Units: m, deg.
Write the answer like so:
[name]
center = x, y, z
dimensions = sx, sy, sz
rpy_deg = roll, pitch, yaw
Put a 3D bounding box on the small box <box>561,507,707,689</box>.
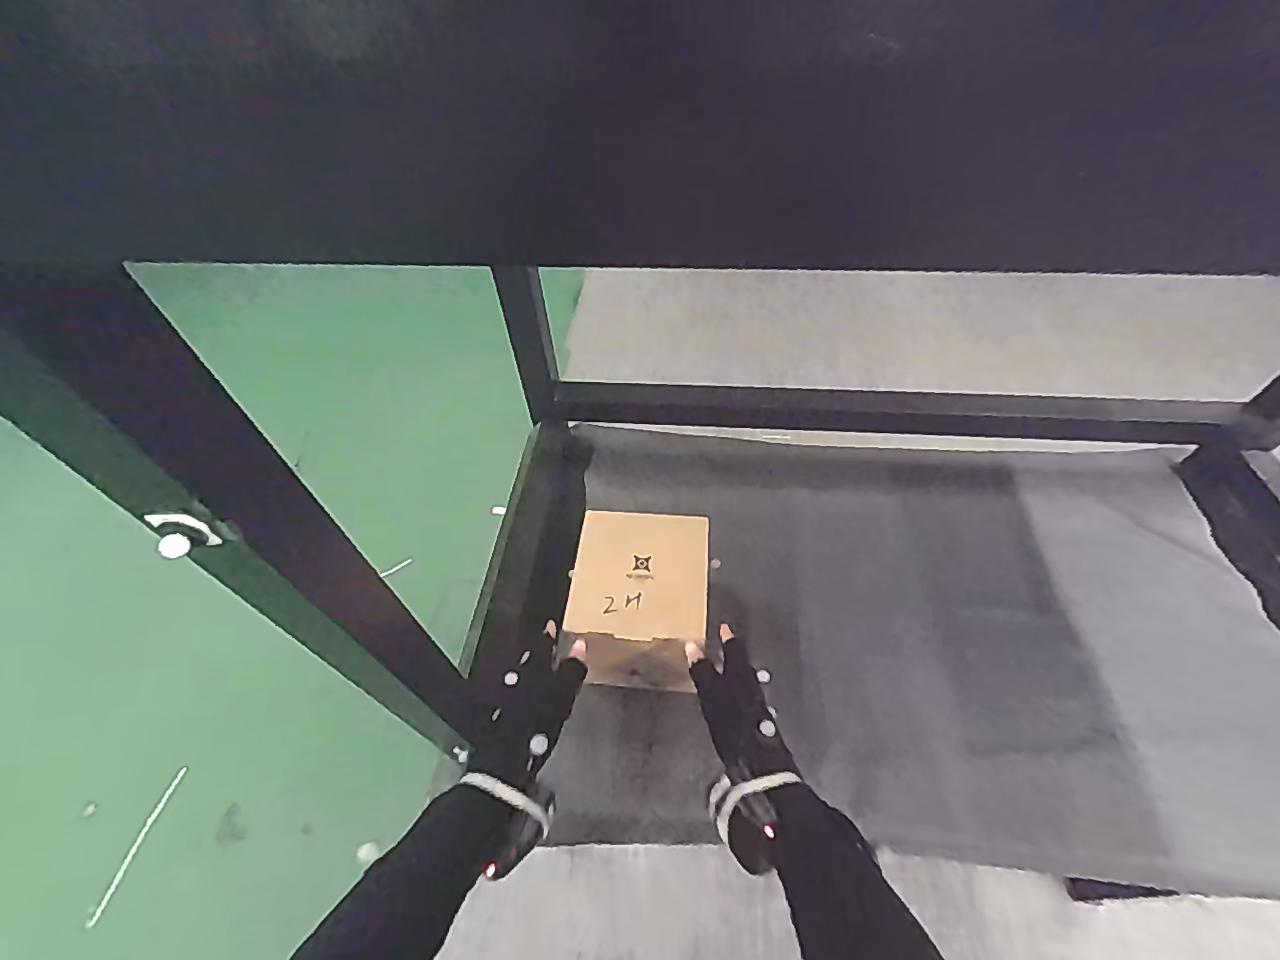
[small box]
center = 0.001, 0.158, 0.724
dimensions = 0.168, 0.176, 0.179
rpy_deg = 2, 50, 6
